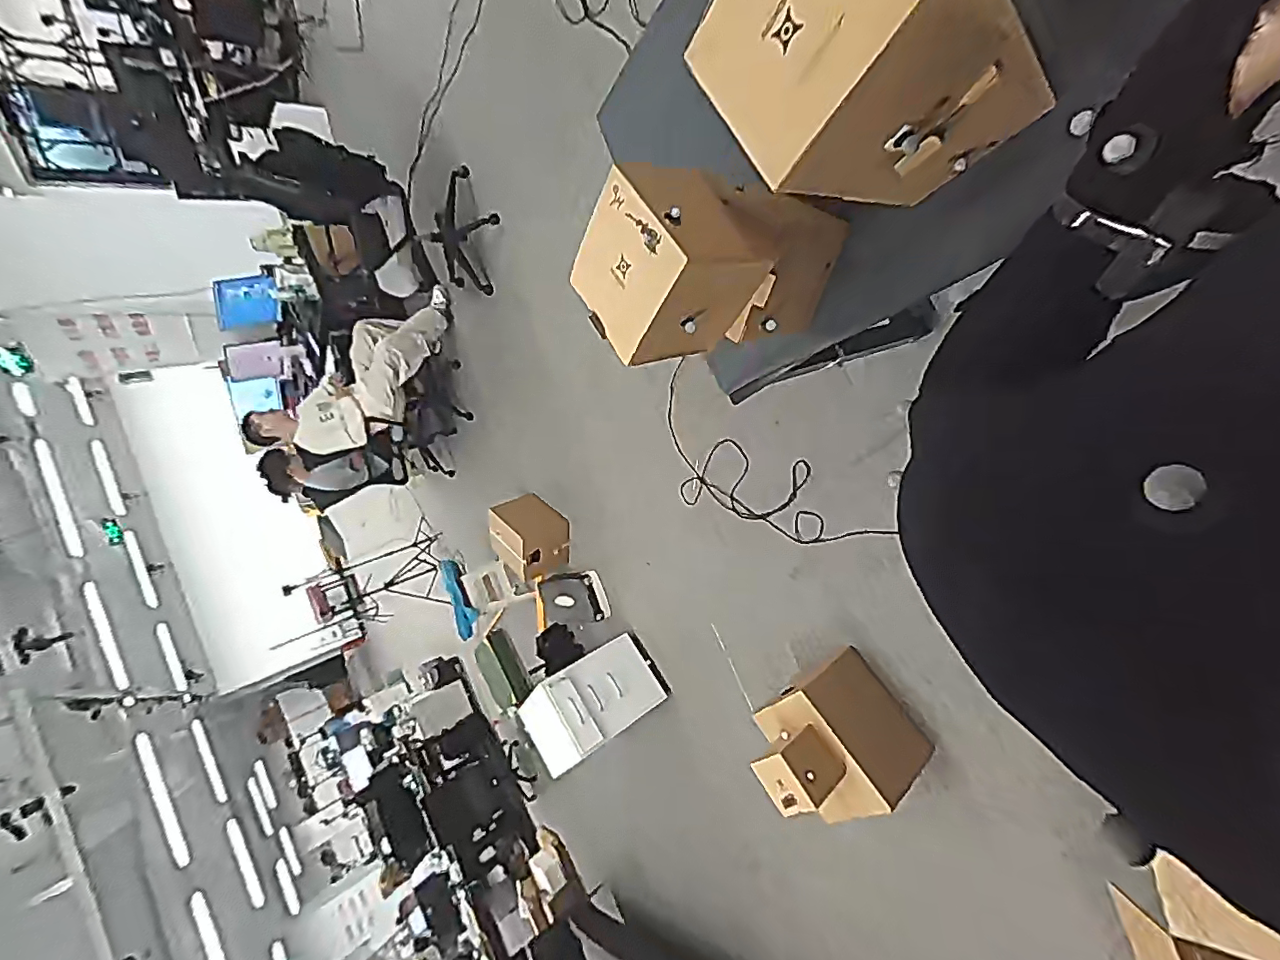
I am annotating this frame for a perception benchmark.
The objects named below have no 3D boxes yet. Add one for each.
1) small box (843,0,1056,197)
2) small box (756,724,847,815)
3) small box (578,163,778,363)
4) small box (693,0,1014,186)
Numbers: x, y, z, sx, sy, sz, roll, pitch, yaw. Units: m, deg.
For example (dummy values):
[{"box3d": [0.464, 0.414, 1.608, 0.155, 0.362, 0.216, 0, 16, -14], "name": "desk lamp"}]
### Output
[{"box3d": [0.308, -0.437, 0.590, 0.168, 0.176, 0.179, -25, 85, 54], "name": "small box"}, {"box3d": [0.504, 0.896, 1.678, 0.179, 0.176, 0.168, 55, 139, 19], "name": "small box"}, {"box3d": [0.047, -0.284, 0.719, 0.168, 0.176, 0.179, 58, 143, 17], "name": "small box"}, {"box3d": [0.187, -0.394, 0.491, 0.179, 0.176, 0.168, 62, 144, 12], "name": "small box"}]
